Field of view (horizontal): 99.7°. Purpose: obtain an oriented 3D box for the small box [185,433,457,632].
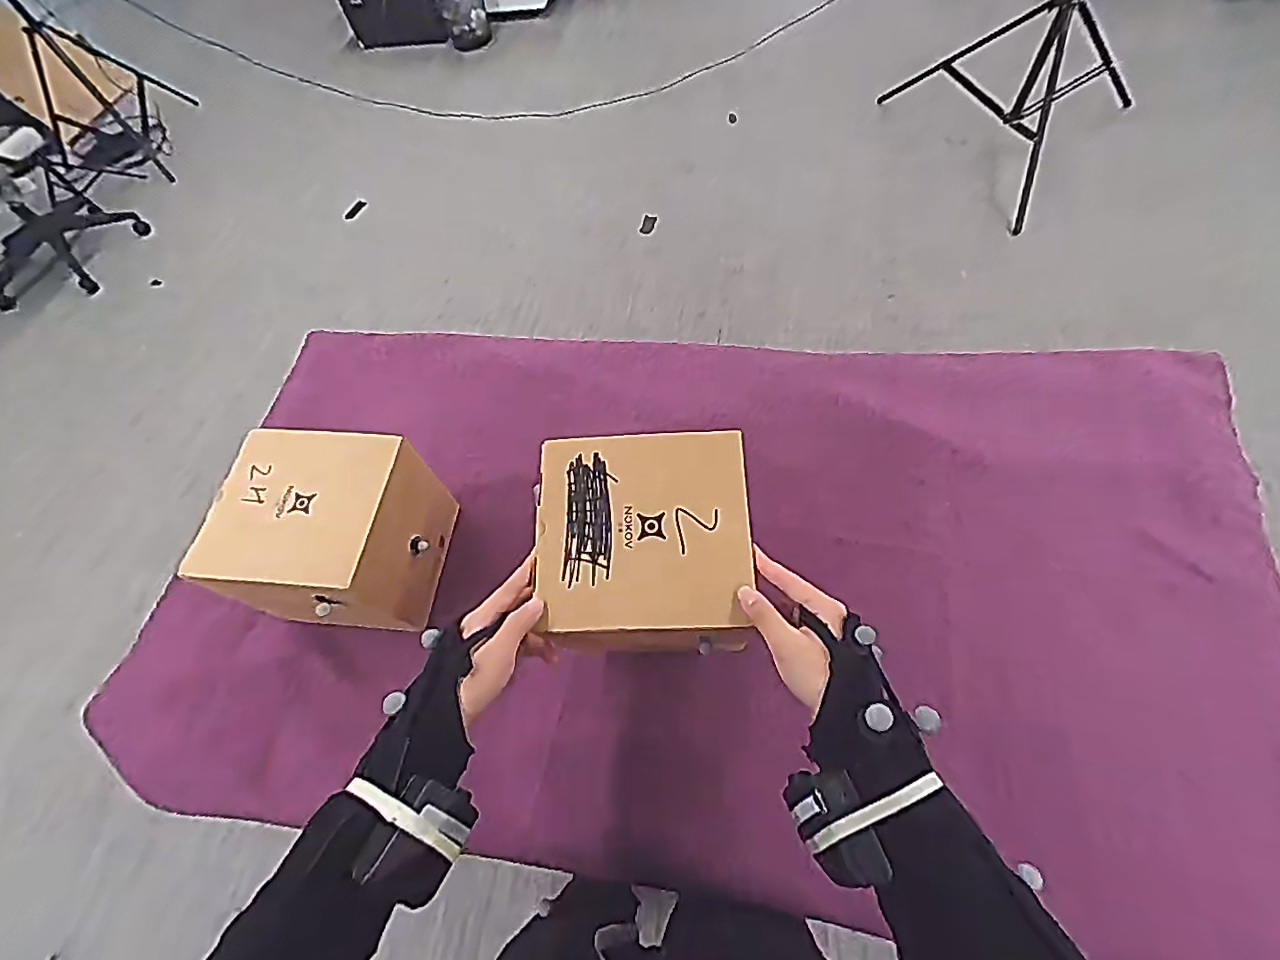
[{"bbox_3d":[-0.329,0.066,0.606,0.179,0.176,0.168,4,61,6],"label":"small box"}]
